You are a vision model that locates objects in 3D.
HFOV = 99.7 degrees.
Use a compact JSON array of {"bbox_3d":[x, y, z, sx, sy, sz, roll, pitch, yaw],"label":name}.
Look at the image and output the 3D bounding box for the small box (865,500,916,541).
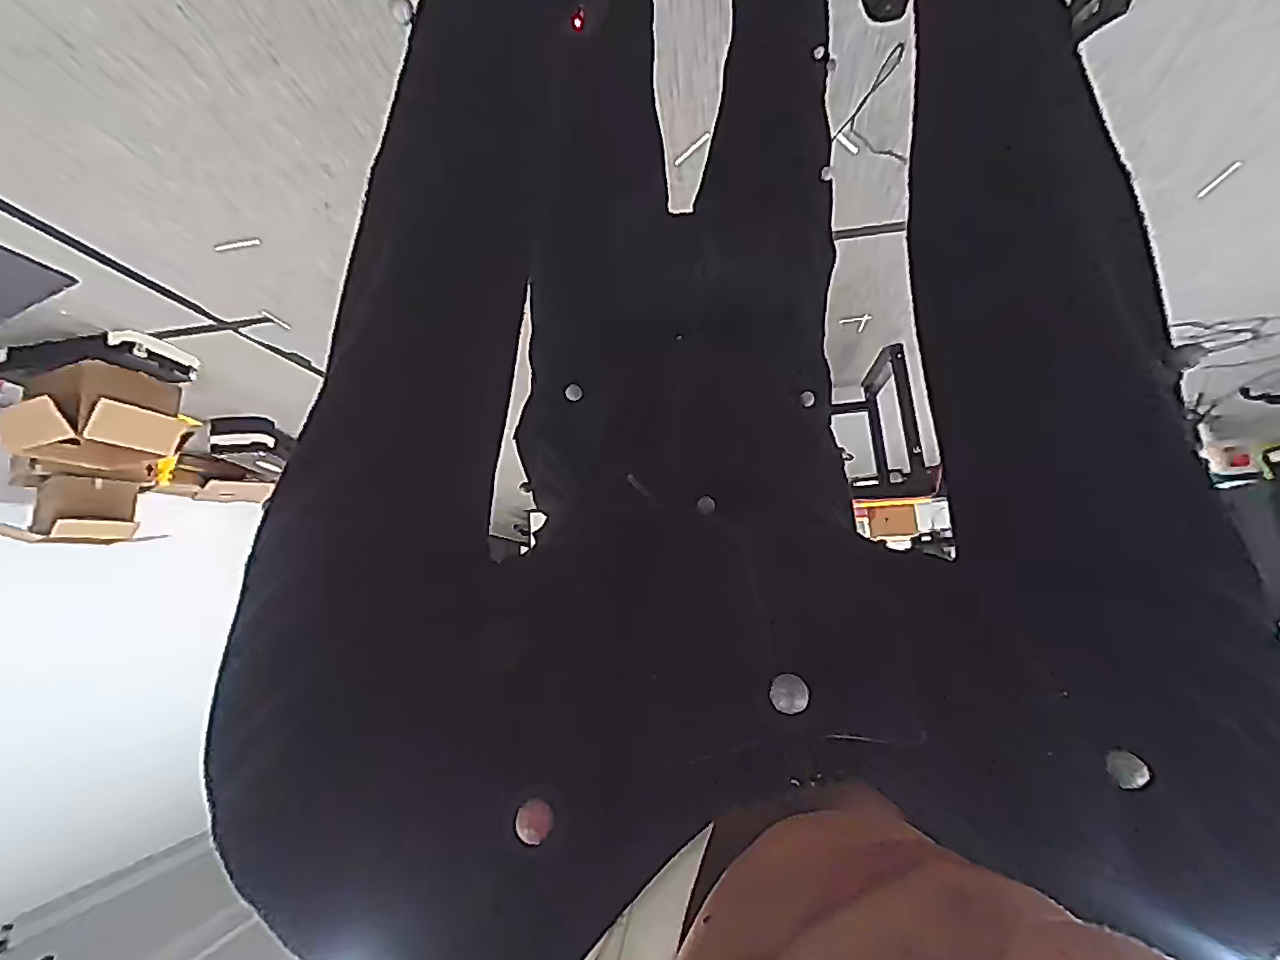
[{"bbox_3d":[1.181,0.193,2.560,0.179,0.176,0.168,-3,168,8],"label":"small box"}]
